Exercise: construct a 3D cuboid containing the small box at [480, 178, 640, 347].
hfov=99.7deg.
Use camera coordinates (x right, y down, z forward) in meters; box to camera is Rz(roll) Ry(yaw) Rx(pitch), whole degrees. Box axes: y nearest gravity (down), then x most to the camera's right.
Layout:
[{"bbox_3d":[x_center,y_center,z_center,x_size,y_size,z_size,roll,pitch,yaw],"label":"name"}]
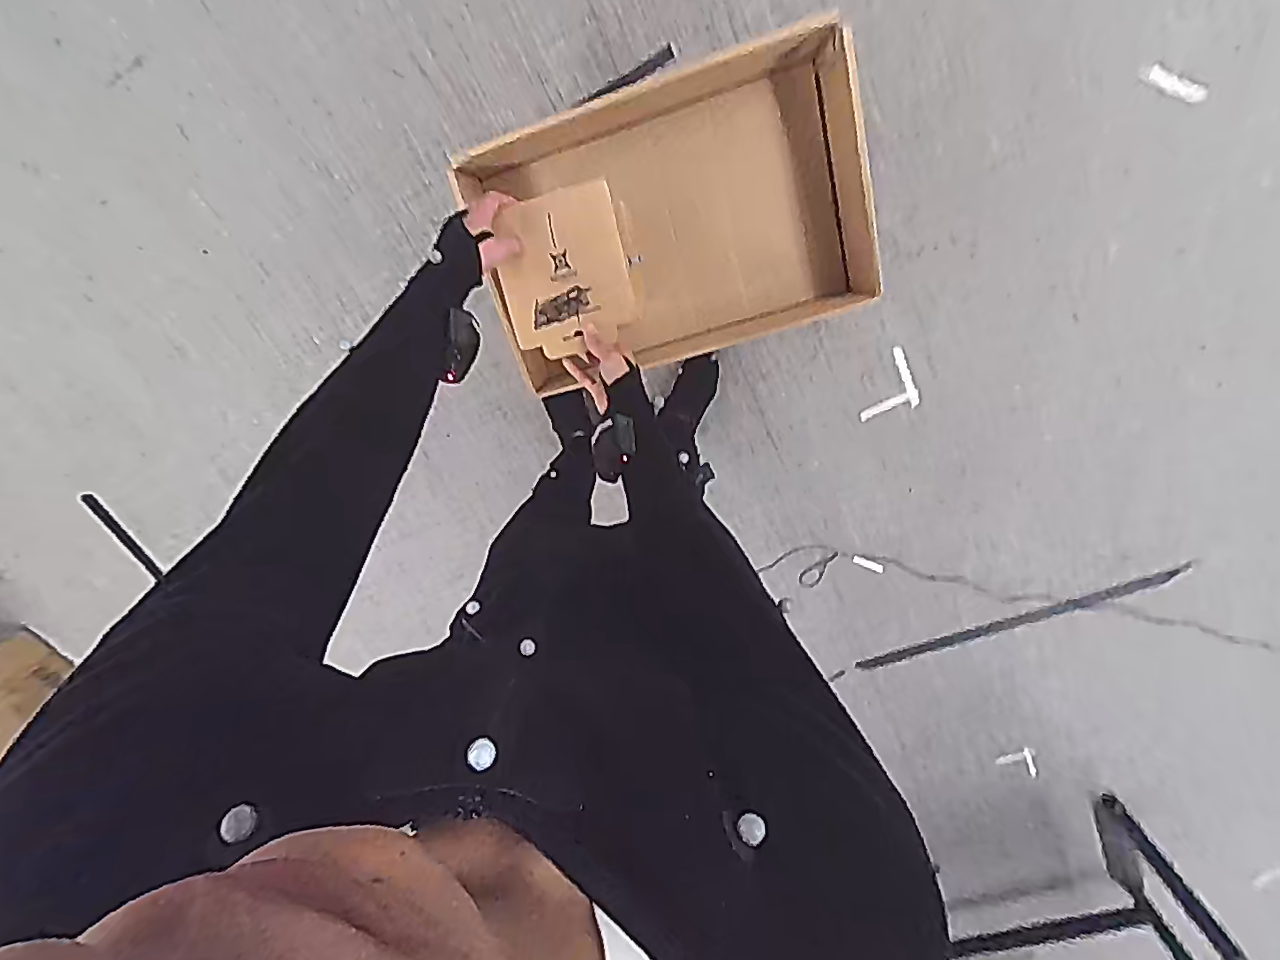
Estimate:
[{"bbox_3d":[-0.099,-0.306,0.770,0.168,0.176,0.179,-12,111,7],"label":"small box"}]
